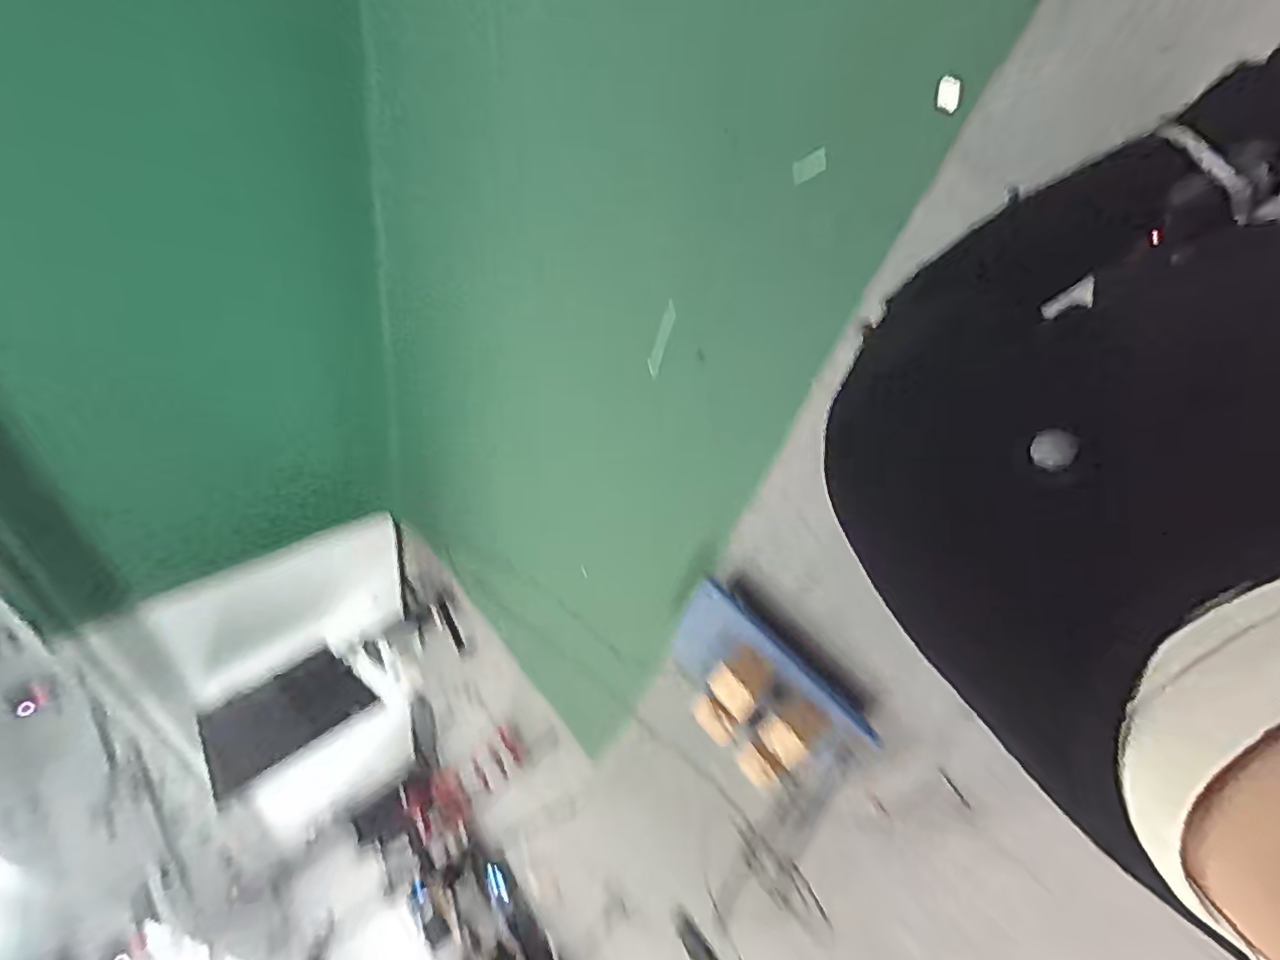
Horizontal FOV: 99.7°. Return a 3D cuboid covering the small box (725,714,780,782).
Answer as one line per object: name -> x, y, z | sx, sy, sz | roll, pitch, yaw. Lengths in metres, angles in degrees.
small box -> 0.492, 1.112, 2.253 | 0.168, 0.176, 0.179 | 45, 138, 21

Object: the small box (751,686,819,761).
small box -> 0.562, 0.930, 2.076 | 0.168, 0.176, 0.179 | 41, 135, 24
